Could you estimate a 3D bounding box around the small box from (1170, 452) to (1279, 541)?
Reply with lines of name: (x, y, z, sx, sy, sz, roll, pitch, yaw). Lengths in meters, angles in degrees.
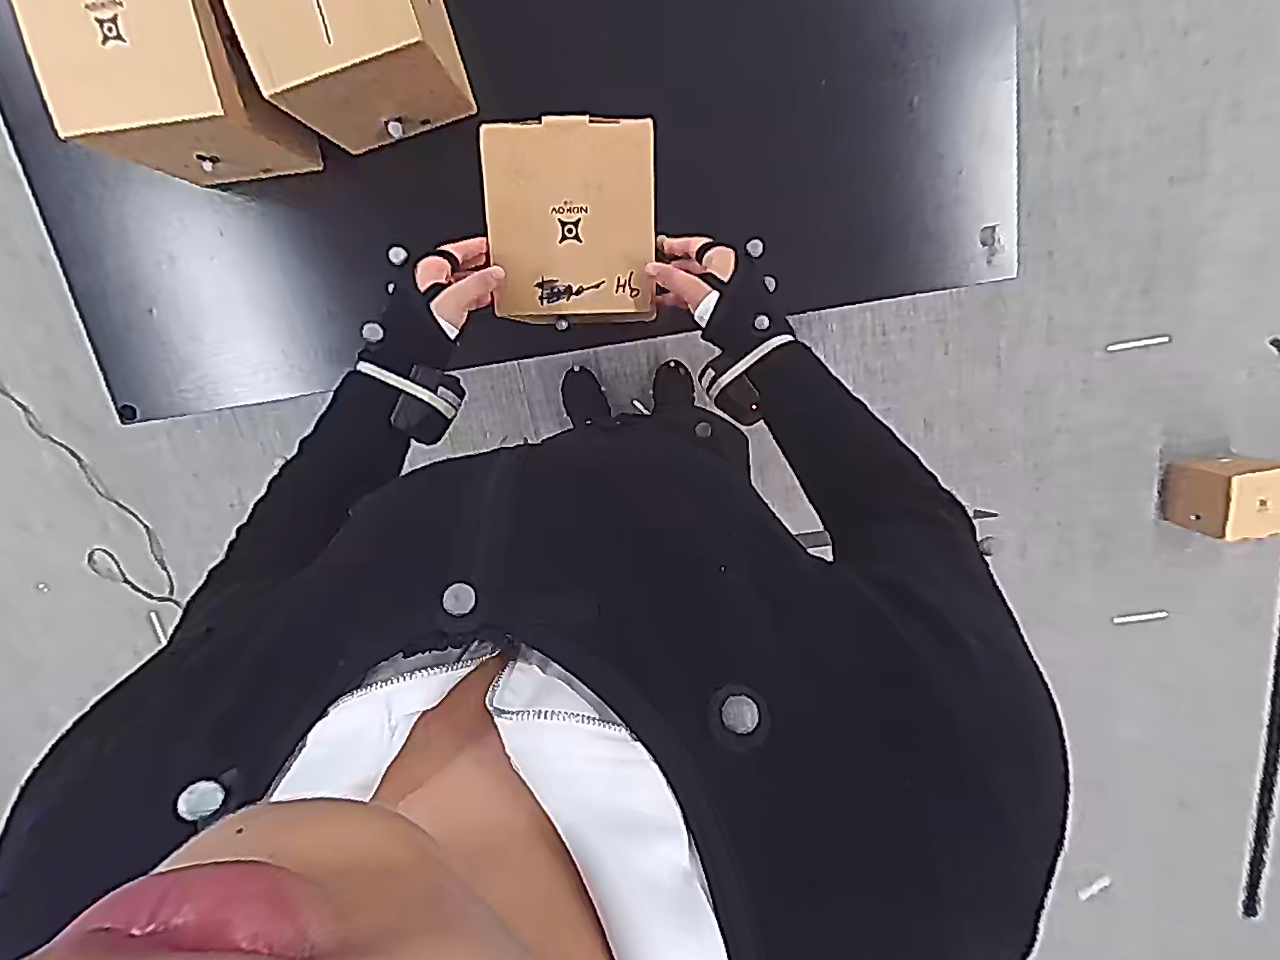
small box: (1.530, 0.038, 1.396, 0.168, 0.176, 0.179, -10, 103, 3)

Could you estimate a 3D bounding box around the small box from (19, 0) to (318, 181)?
small box: (-0.480, -0.437, 0.575, 0.168, 0.176, 0.179, -7, 103, 2)

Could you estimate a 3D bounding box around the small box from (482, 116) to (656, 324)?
small box: (-0.066, -0.273, 0.605, 0.168, 0.176, 0.179, -1, 102, 2)
